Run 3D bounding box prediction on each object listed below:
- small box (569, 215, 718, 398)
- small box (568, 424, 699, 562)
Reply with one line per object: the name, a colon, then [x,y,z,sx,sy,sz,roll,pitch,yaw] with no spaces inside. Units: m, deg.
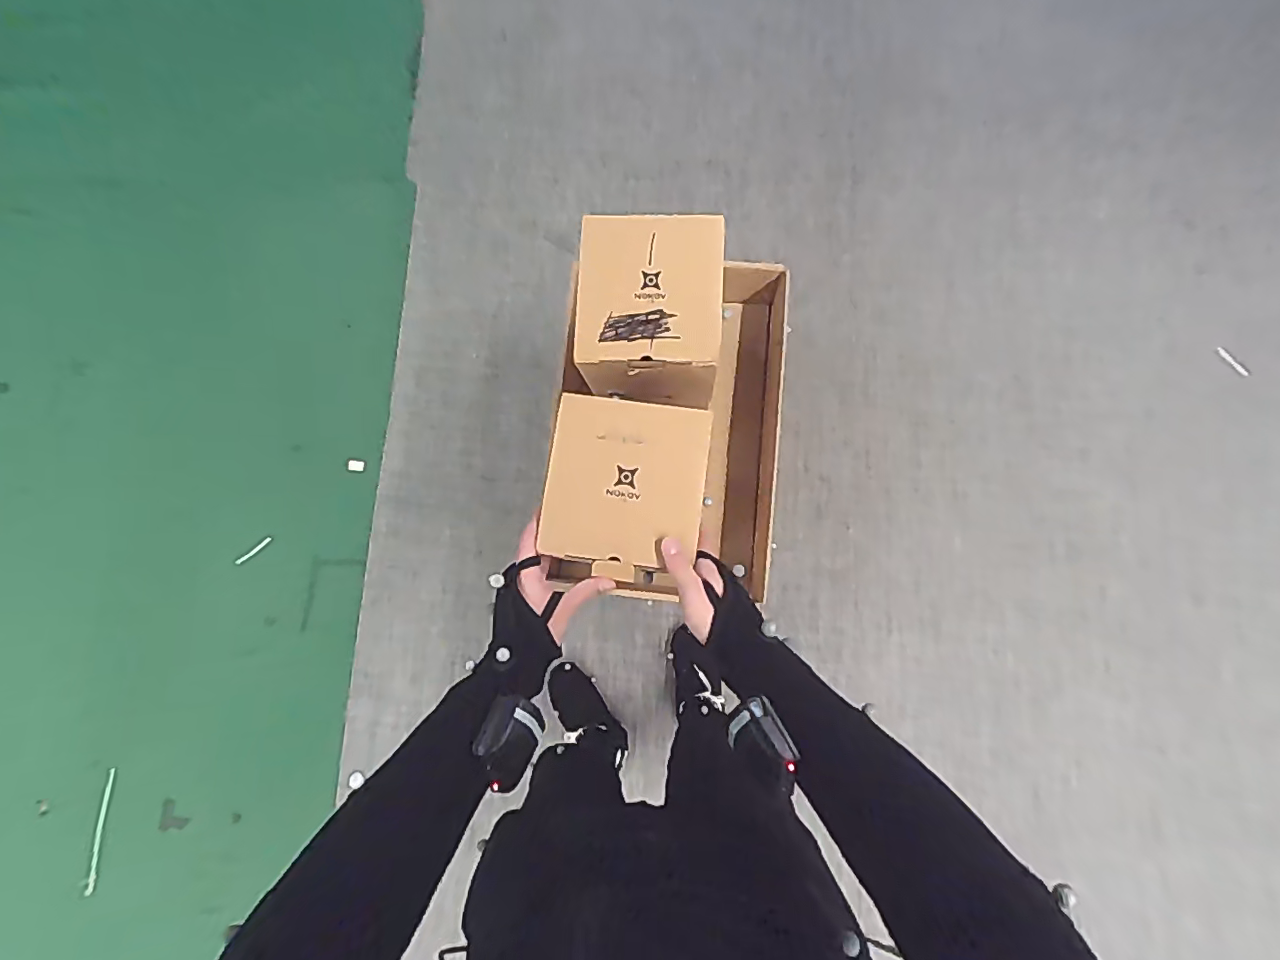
small box: [0.011,-0.207,0.687,0.168,0.176,0.179,2,83,5]
small box: [-0.002,0.027,0.812,0.168,0.176,0.179,6,81,5]
